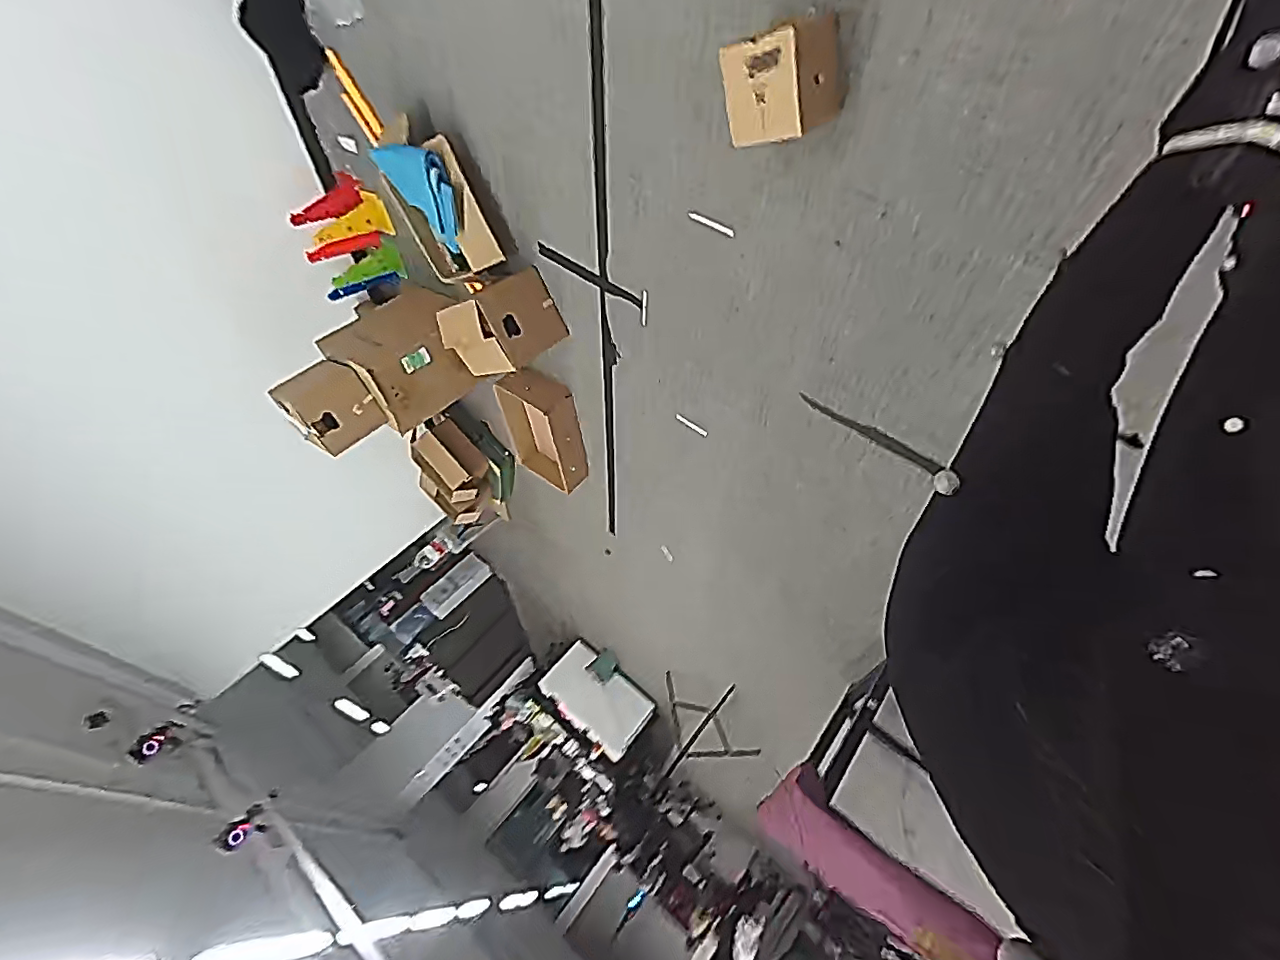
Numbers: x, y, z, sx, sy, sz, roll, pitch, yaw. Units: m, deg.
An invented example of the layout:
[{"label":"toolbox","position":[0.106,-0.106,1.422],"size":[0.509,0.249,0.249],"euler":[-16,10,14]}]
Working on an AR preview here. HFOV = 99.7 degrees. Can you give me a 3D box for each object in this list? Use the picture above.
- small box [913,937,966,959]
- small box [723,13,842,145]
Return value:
[{"label":"small box","position":[0.955,1.571,1.675],"size":[0.179,0.176,0.168],"euler":[35,150,22]},{"label":"small box","position":[0.293,-0.811,1.094],"size":[0.168,0.176,0.179],"euler":[20,143,40]}]
